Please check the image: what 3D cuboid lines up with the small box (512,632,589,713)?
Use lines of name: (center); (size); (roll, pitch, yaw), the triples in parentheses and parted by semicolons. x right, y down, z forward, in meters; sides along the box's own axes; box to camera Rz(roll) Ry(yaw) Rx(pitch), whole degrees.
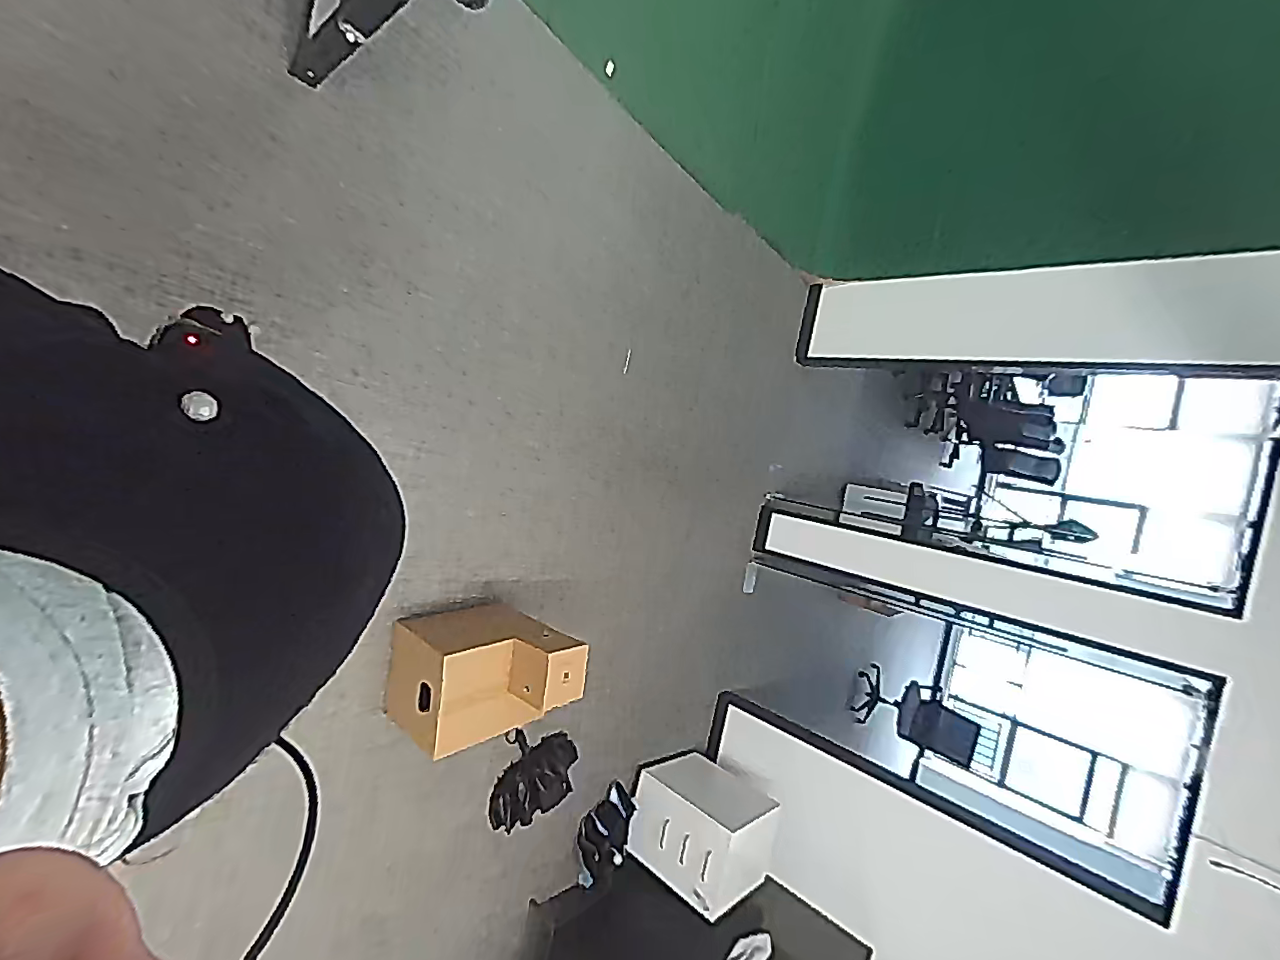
small box: (-0.281, 0.589, 1.680); (0.168, 0.176, 0.179); (4, 91, -50)
